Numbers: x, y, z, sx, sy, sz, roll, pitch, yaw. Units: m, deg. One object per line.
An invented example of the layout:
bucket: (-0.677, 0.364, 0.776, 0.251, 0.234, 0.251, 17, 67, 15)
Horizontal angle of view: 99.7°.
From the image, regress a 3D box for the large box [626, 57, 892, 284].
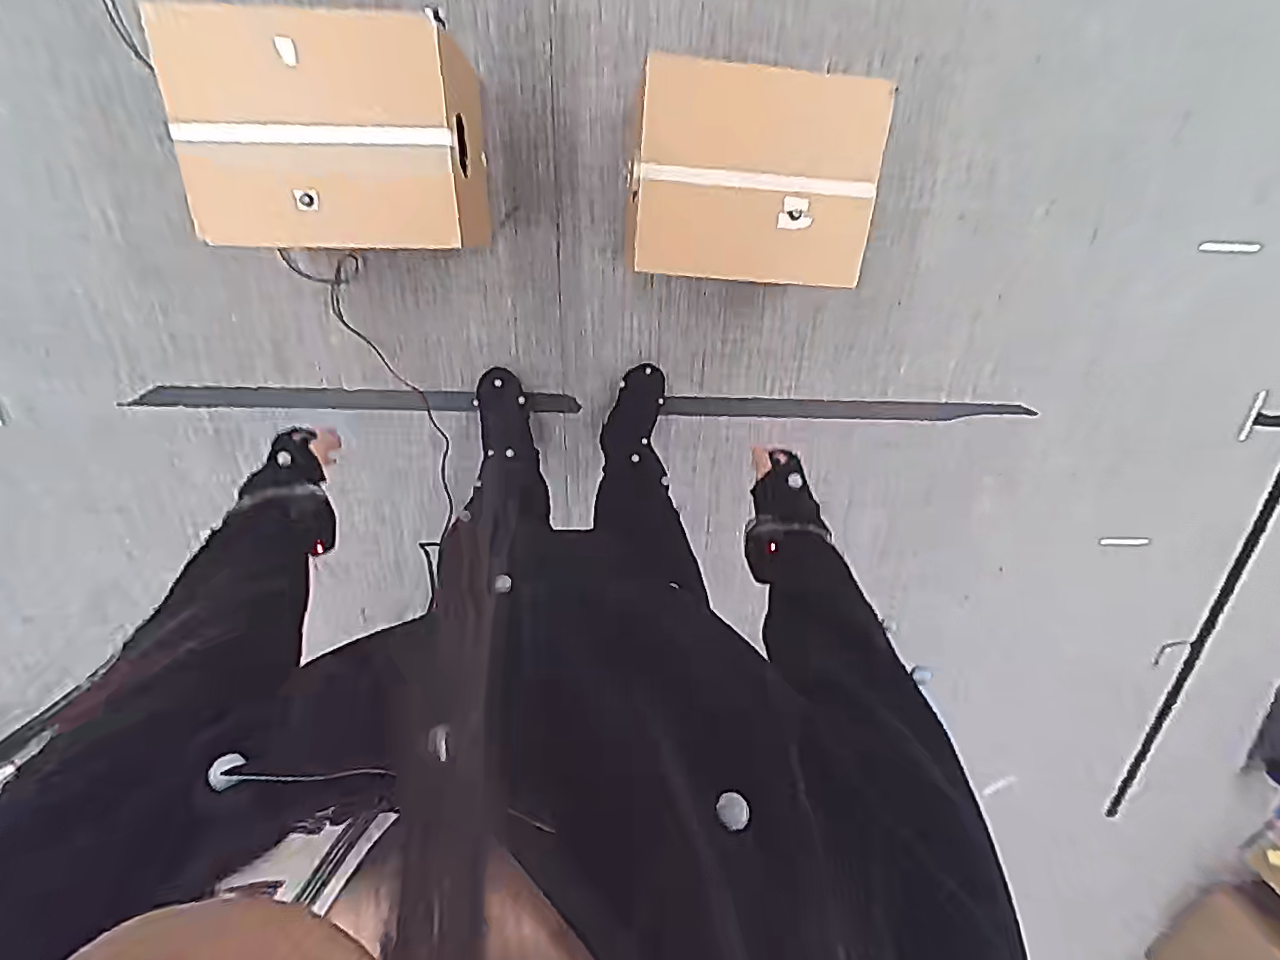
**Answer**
large box: (0.186, -0.557, 1.042, 0.408, 0.320, 0.320, 2, 112, -7)
